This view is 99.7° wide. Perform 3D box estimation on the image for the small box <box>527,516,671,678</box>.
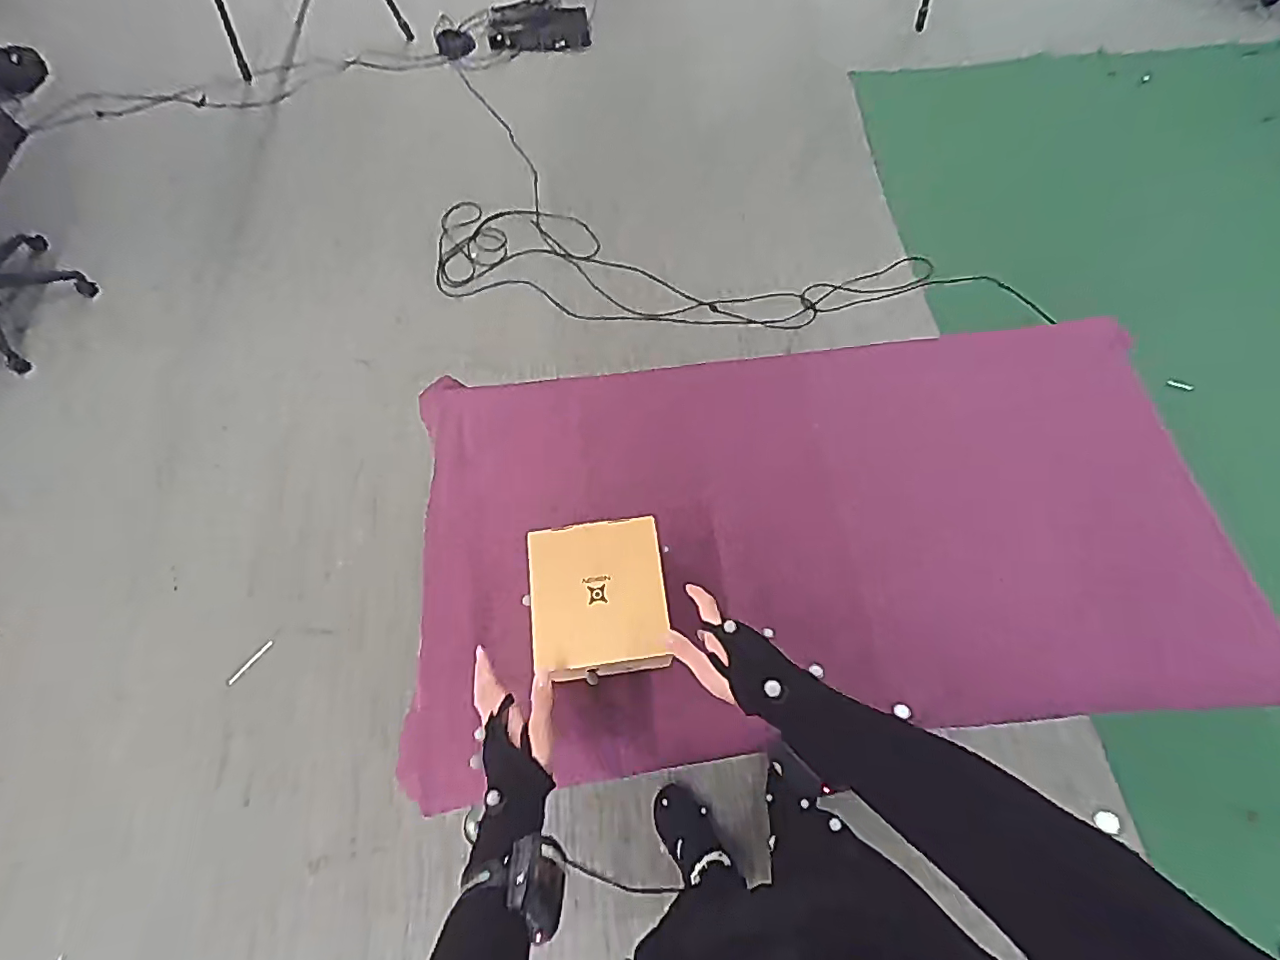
[{"bbox_3d":[-0.049,0.167,0.731,0.168,0.176,0.179,-8,65,-1],"label":"small box"}]
